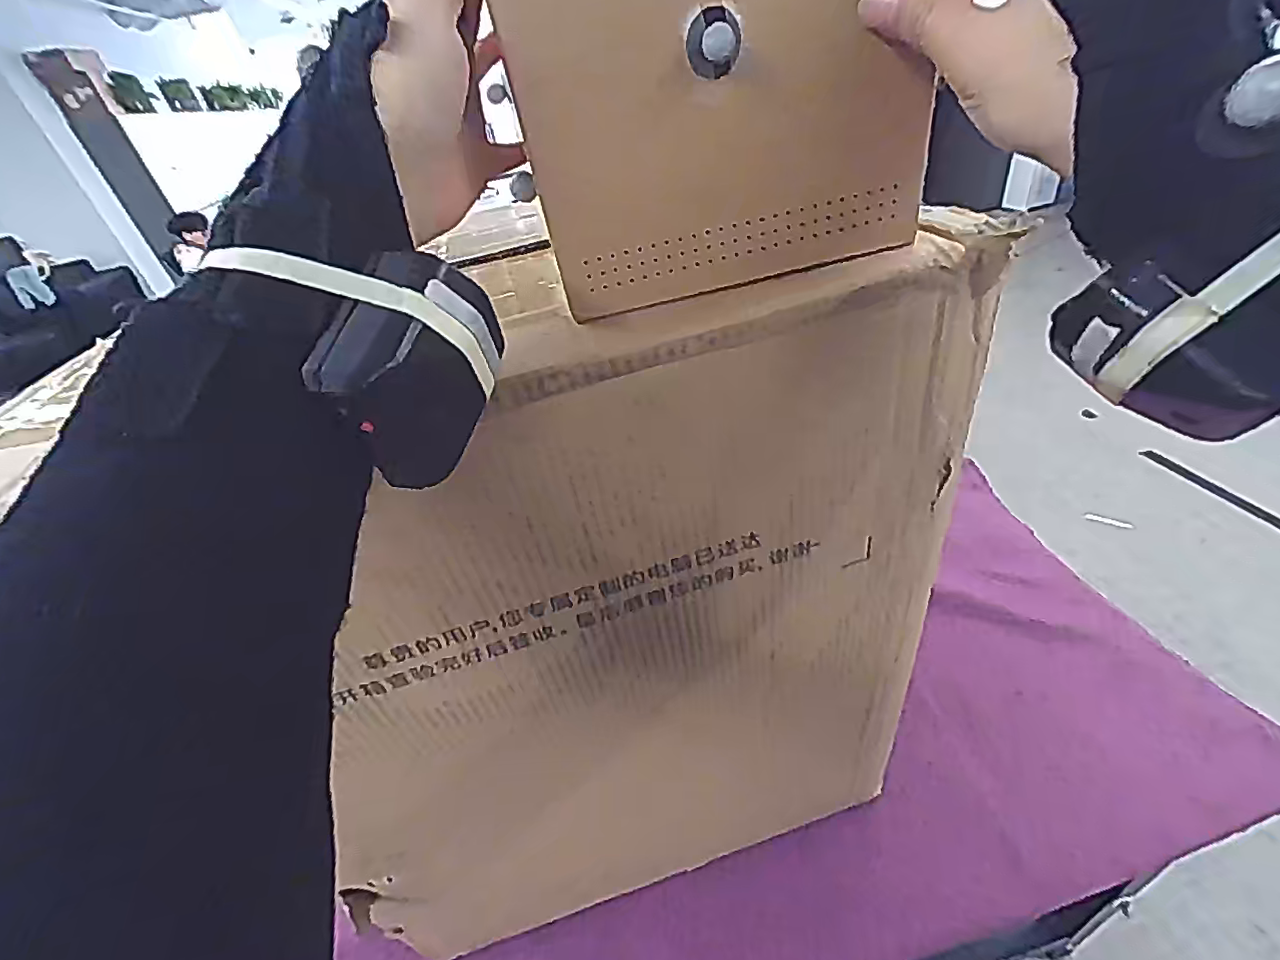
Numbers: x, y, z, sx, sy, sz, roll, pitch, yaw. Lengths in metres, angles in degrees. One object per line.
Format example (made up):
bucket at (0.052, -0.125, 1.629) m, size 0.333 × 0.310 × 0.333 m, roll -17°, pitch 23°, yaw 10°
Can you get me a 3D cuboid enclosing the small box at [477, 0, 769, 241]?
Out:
small box at (-0.013, -0.299, 0.418) m, size 0.179 × 0.176 × 0.168 m, roll -16°, pitch 36°, yaw -6°
